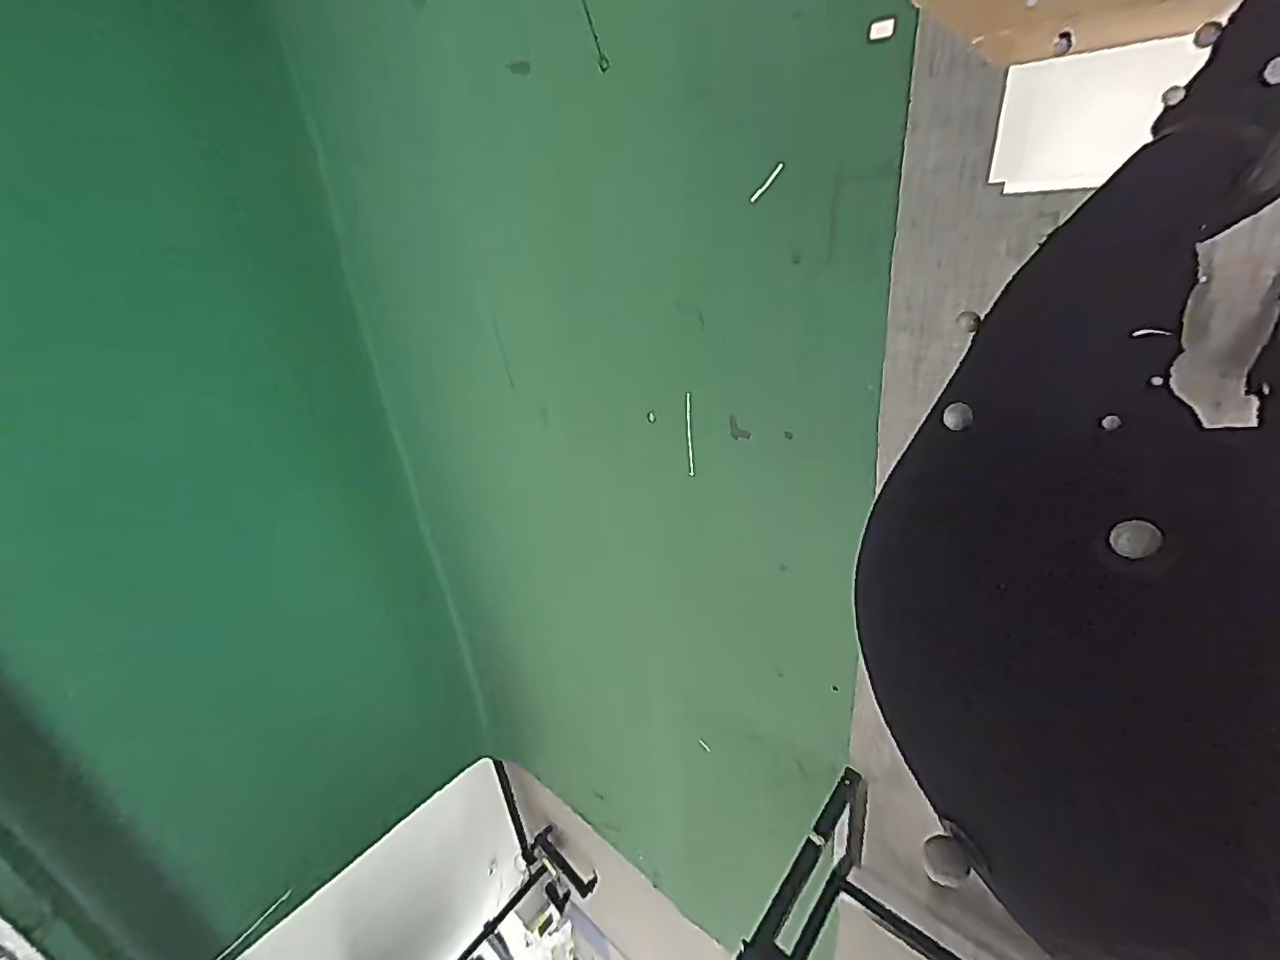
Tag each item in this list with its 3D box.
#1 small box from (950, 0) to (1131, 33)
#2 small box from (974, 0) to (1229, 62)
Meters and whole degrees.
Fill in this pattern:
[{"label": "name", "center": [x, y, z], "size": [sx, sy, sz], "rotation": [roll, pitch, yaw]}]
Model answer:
[{"label": "small box", "center": [0.317, -0.435, 0.363], "size": [0.179, 0.176, 0.168], "rotation": [16, 123, 37]}, {"label": "small box", "center": [0.426, -0.493, 0.474], "size": [0.179, 0.176, 0.168], "rotation": [17, 124, 37]}]
